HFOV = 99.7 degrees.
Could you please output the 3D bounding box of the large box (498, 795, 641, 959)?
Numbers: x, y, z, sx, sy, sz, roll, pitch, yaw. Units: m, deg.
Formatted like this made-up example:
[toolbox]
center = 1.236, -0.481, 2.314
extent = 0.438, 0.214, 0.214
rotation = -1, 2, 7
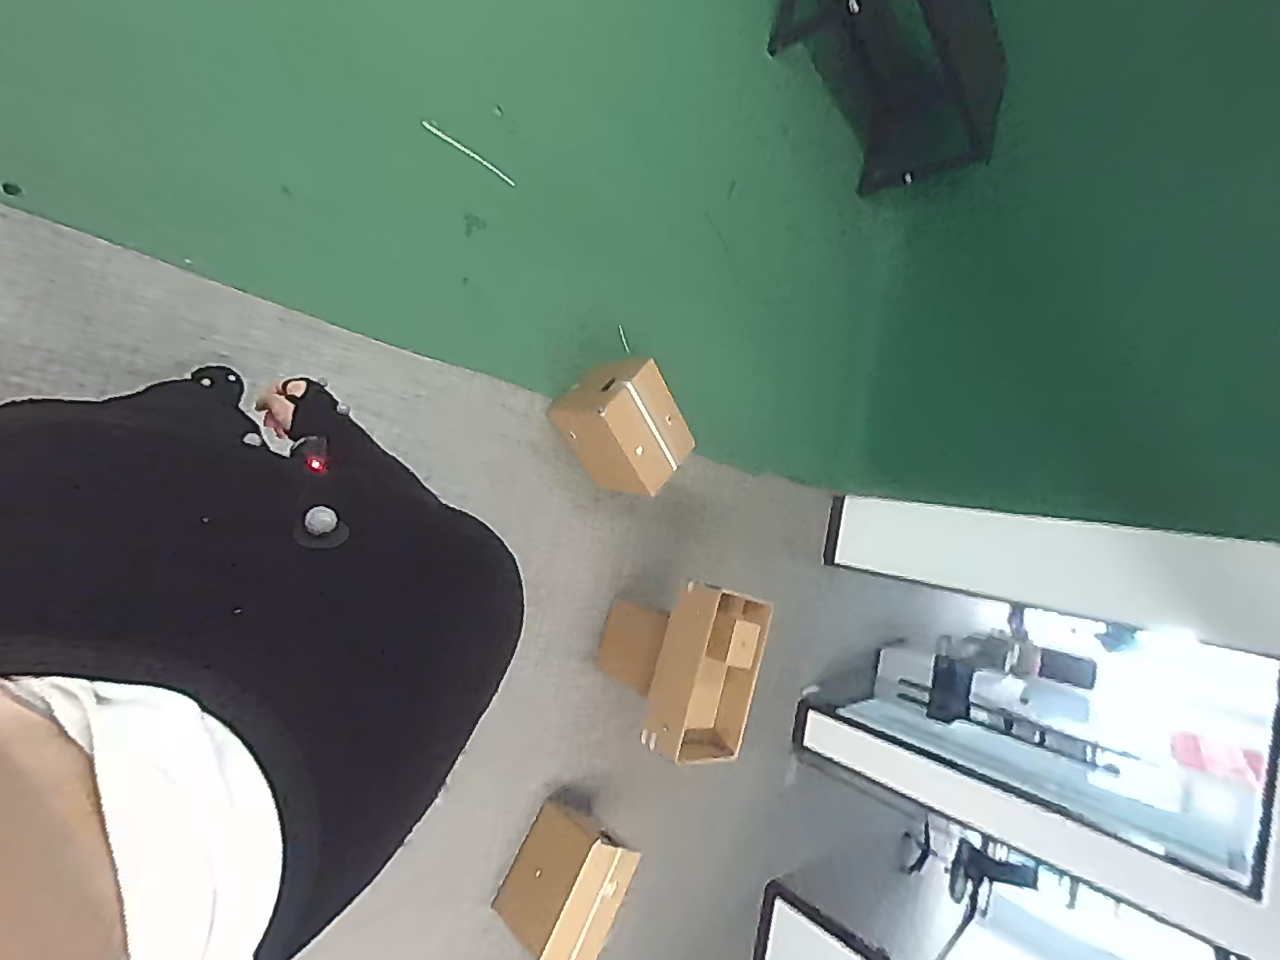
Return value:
[large box]
center = -0.270, 1.519, 2.083
extent = 0.320, 0.320, 0.408
rotation = 45, 63, -39
